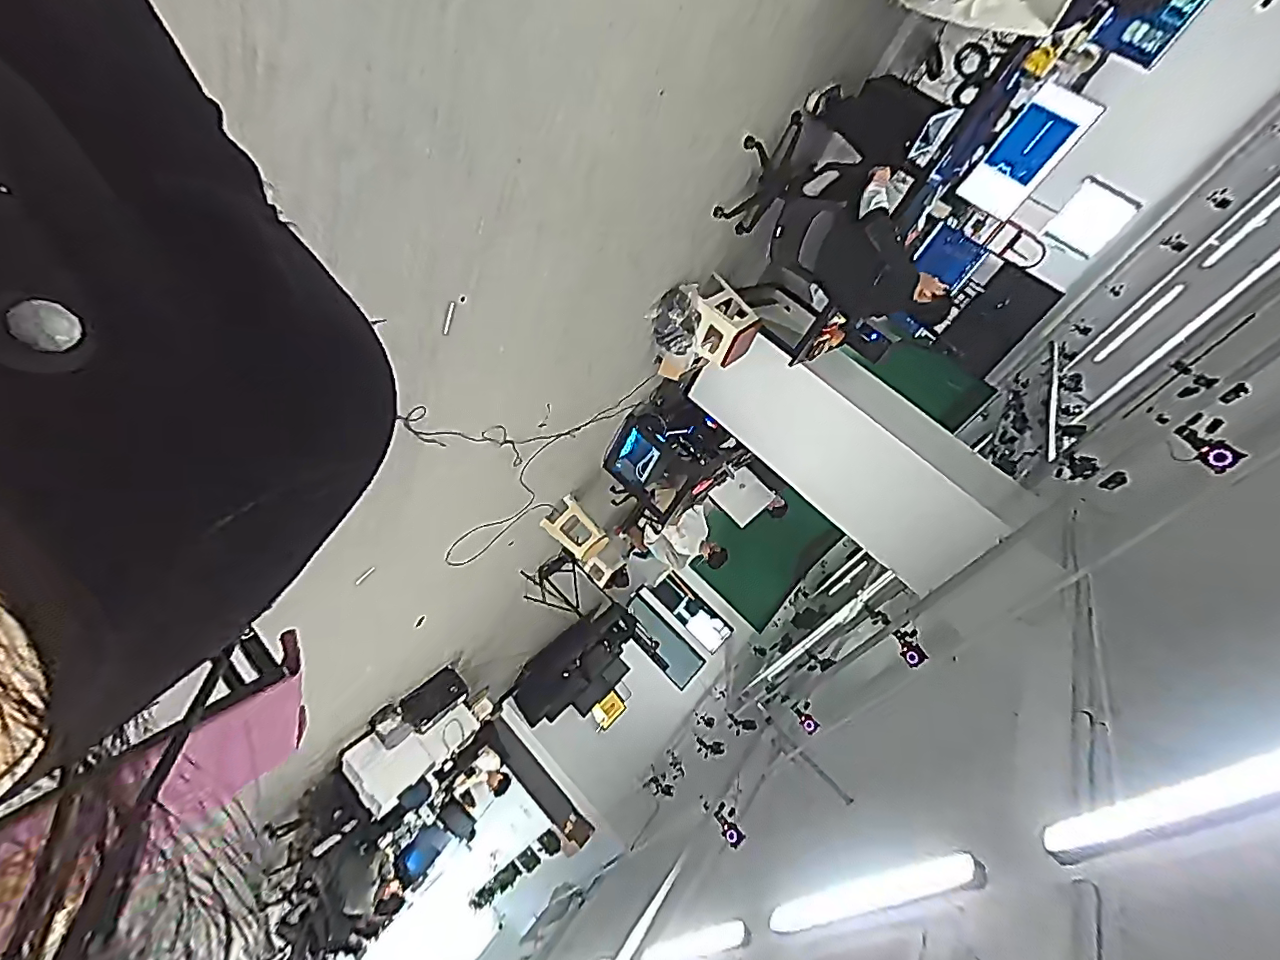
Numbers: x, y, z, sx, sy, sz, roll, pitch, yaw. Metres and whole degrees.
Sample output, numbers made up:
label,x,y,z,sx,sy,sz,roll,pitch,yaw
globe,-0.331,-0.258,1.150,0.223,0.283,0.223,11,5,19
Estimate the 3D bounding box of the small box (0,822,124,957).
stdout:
label,x,y,z,sx,sy,sz,roll,pitch,yaw
small box,-1.331,0.928,1.235,0.168,0.176,0.179,-31,158,-52
